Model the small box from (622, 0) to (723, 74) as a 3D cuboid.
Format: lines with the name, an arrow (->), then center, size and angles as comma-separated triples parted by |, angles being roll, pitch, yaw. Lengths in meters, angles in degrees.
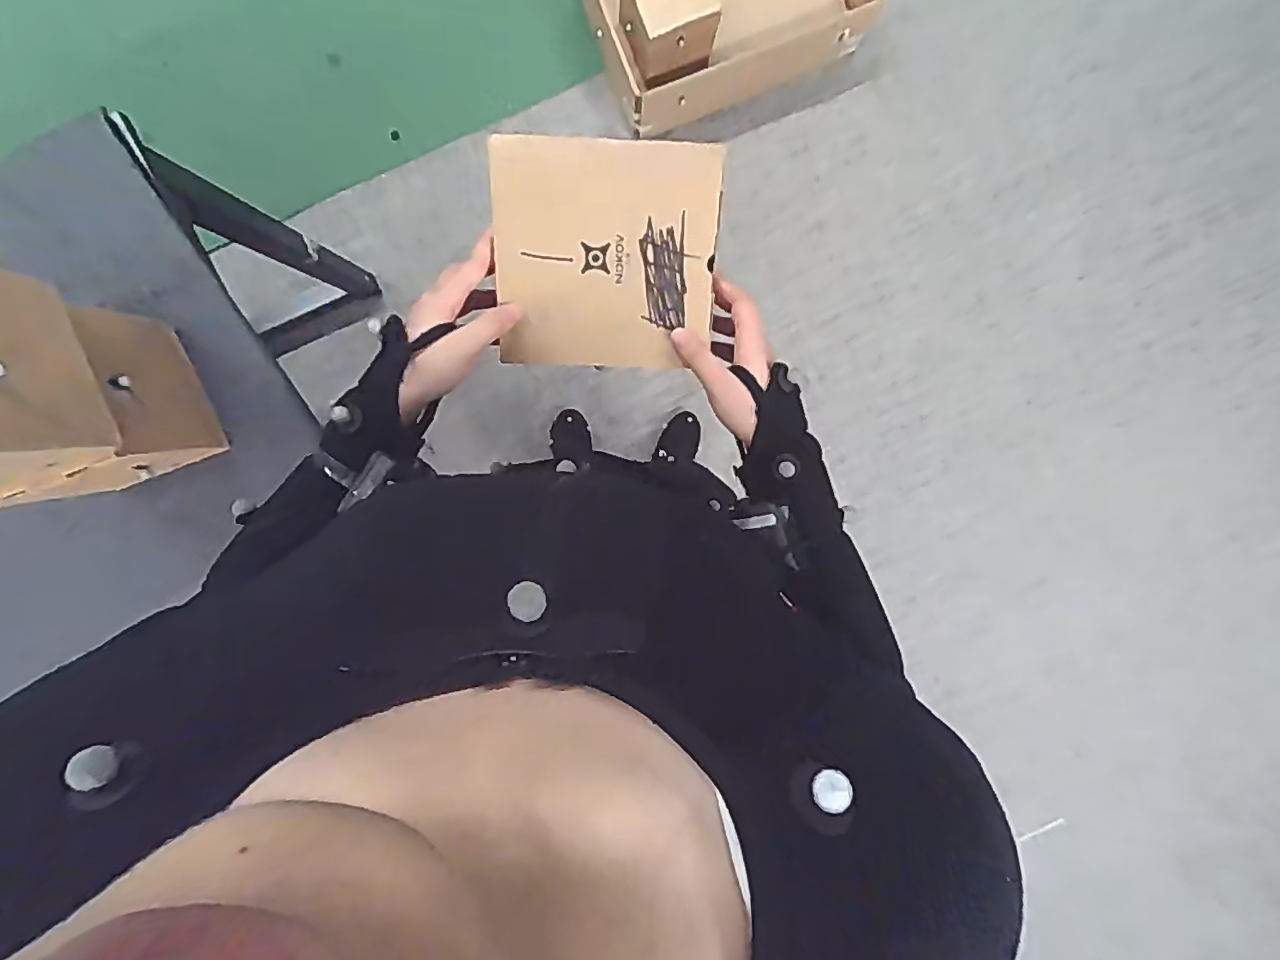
small box -> 0.065, -1.065, 1.213 | 0.179, 0.176, 0.168 | -23, 99, -1

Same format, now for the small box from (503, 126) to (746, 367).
small box -> -0.016, -0.200, 0.485 | 0.179, 0.176, 0.168 | 1, 111, -2

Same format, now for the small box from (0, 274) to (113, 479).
small box -> -0.617, -0.081, 0.452 | 0.168, 0.176, 0.179 | -18, 98, 0

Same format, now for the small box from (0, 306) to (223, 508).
small box -> -0.636, -0.085, 0.617 | 0.168, 0.176, 0.179 | -21, 97, 0
